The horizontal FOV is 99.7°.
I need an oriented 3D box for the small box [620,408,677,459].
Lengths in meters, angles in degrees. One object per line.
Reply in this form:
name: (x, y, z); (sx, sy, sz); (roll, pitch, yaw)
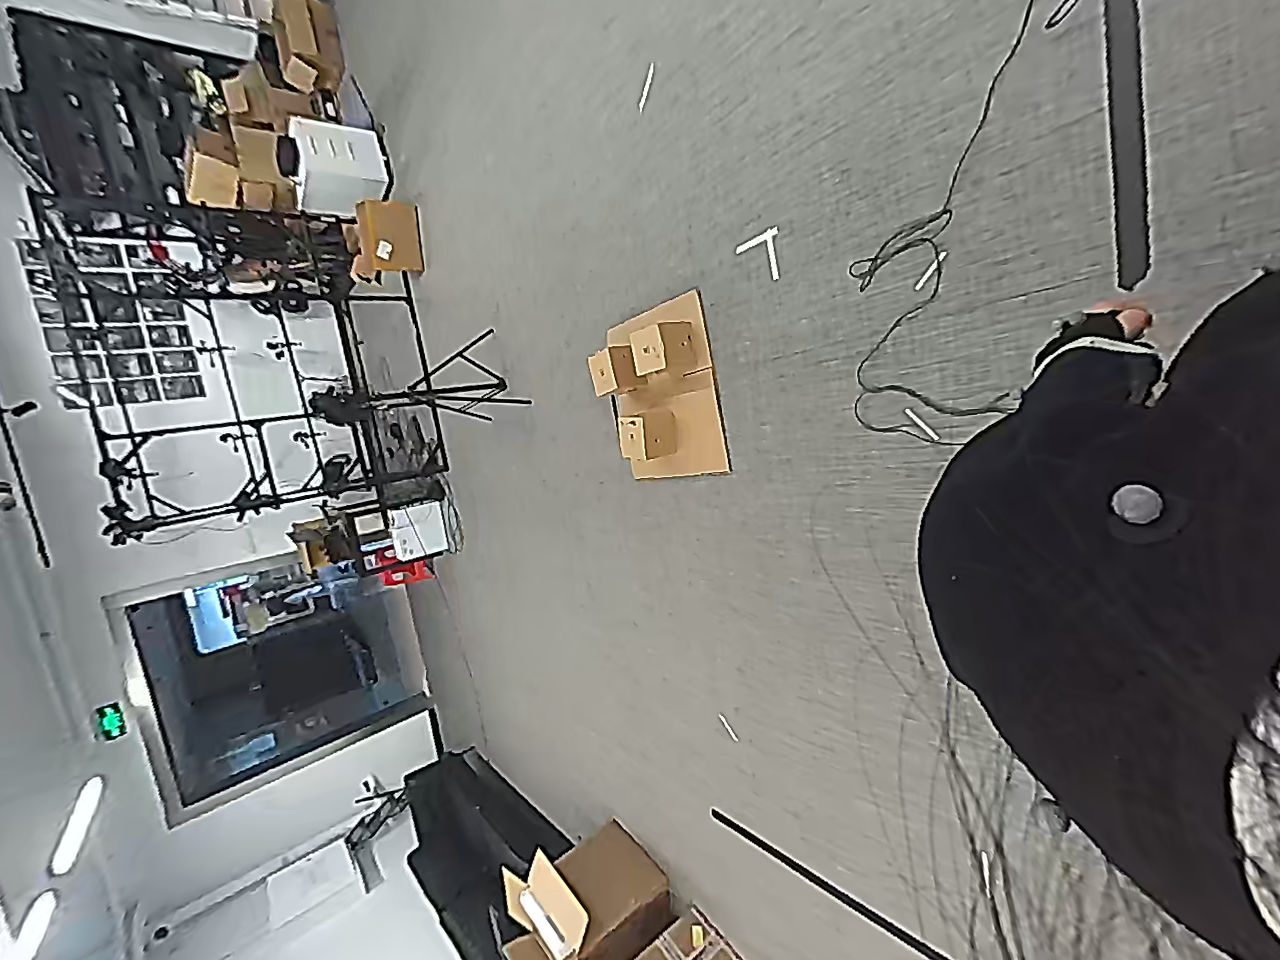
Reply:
small box: (0.039, -0.197, 2.251); (0.168, 0.176, 0.179); (10, 111, 50)

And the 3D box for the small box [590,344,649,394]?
small box: (-0.085, -0.479, 2.320); (0.168, 0.176, 0.179); (-11, 93, 54)

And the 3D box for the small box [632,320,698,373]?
small box: (0.097, -0.513, 2.074); (0.179, 0.176, 0.168); (-3, 100, 51)
